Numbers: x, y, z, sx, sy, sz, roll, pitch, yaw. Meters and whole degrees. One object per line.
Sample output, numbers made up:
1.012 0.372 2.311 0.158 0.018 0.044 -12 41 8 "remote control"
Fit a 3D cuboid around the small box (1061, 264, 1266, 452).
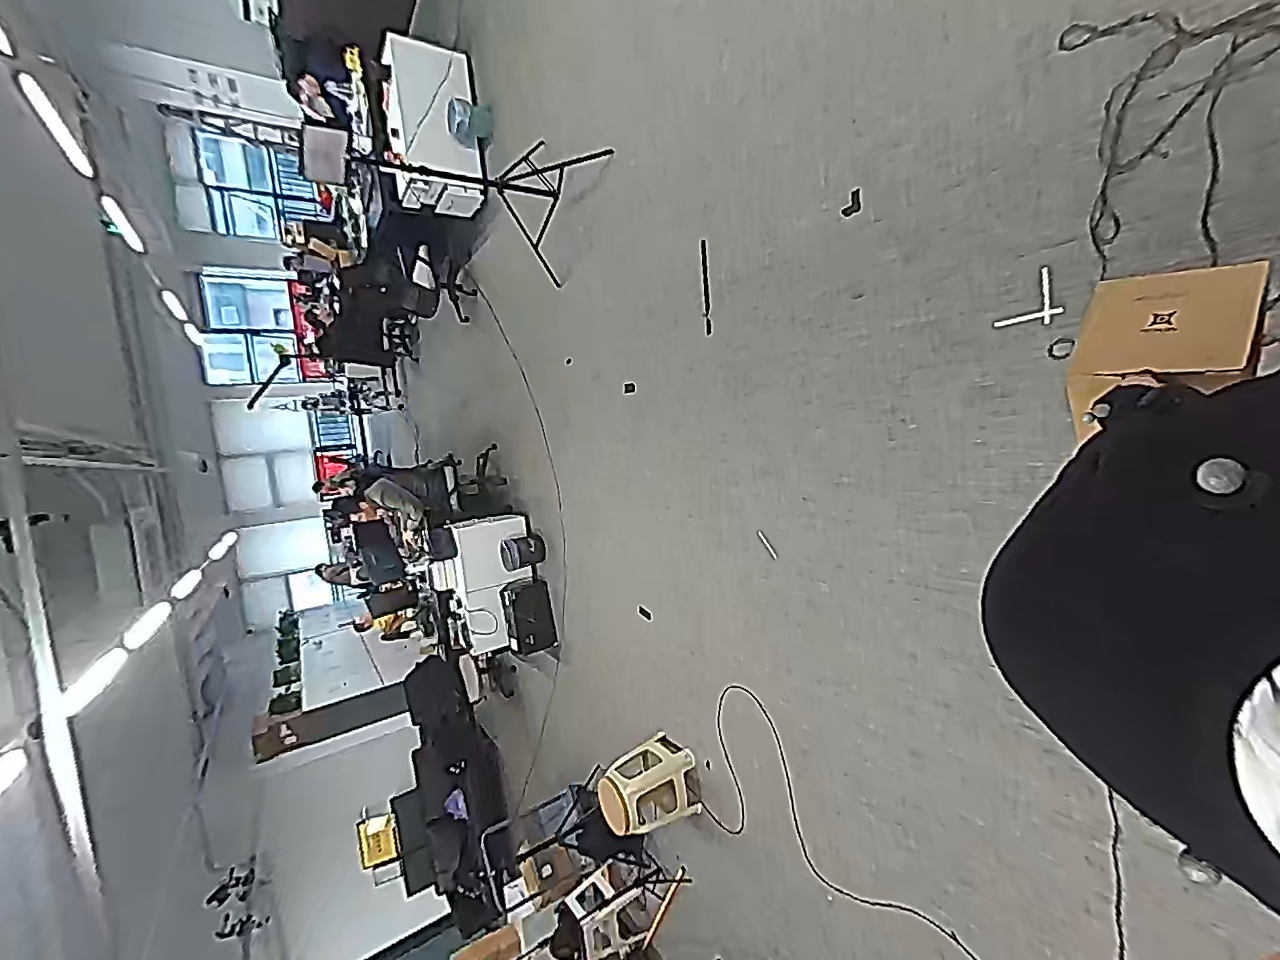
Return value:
0.709 -0.156 0.737 0.168 0.176 0.179 12 66 49 "small box"
